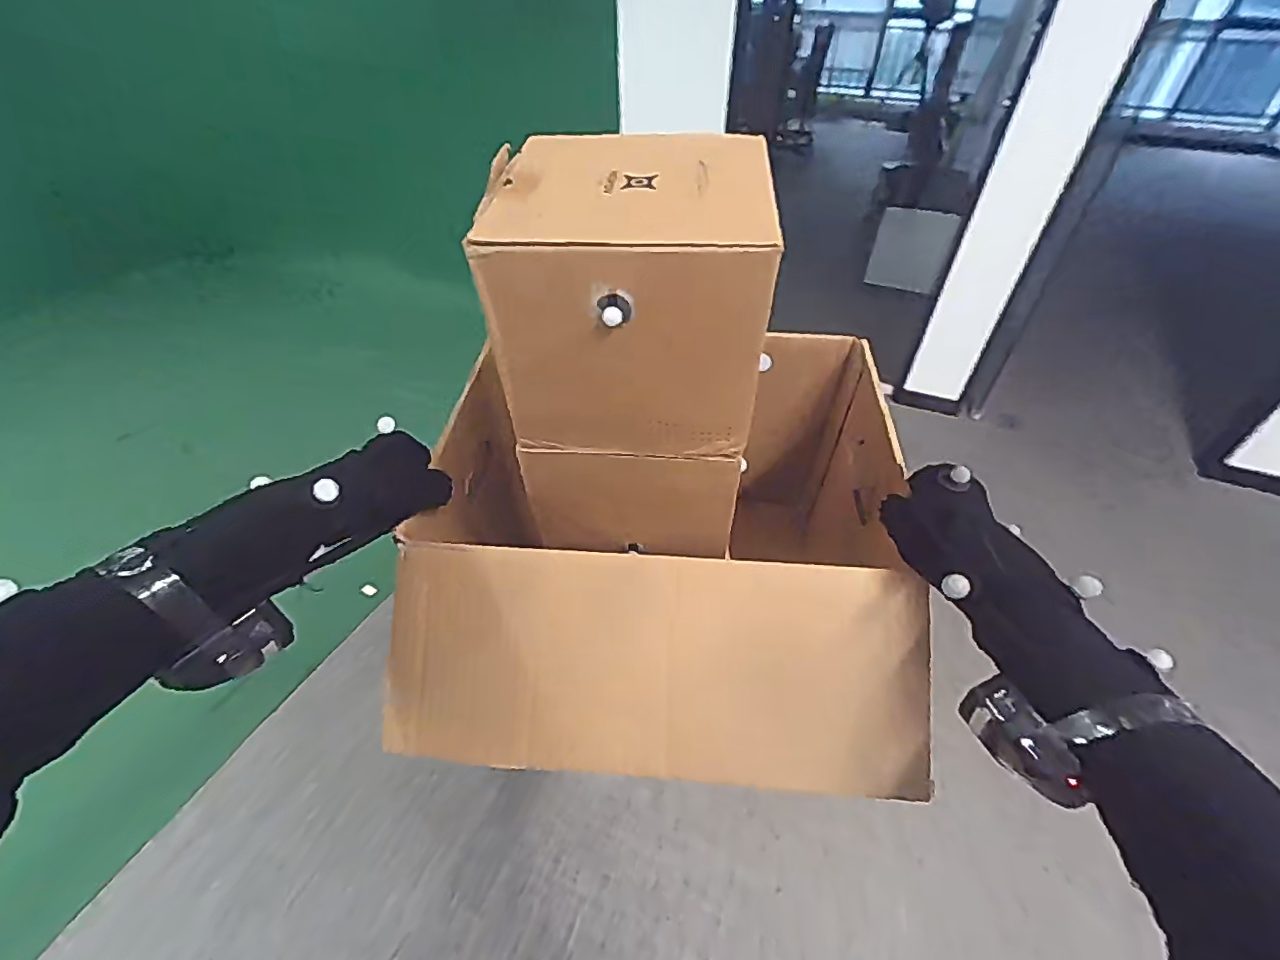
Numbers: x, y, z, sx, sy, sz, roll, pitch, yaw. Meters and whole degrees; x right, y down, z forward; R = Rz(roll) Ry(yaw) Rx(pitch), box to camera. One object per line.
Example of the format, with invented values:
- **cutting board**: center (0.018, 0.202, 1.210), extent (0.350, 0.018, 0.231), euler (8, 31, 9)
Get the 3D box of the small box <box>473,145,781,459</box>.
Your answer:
- **small box**: center (-0.002, -0.131, 0.409), extent (0.179, 0.176, 0.168), euler (3, 50, 2)
